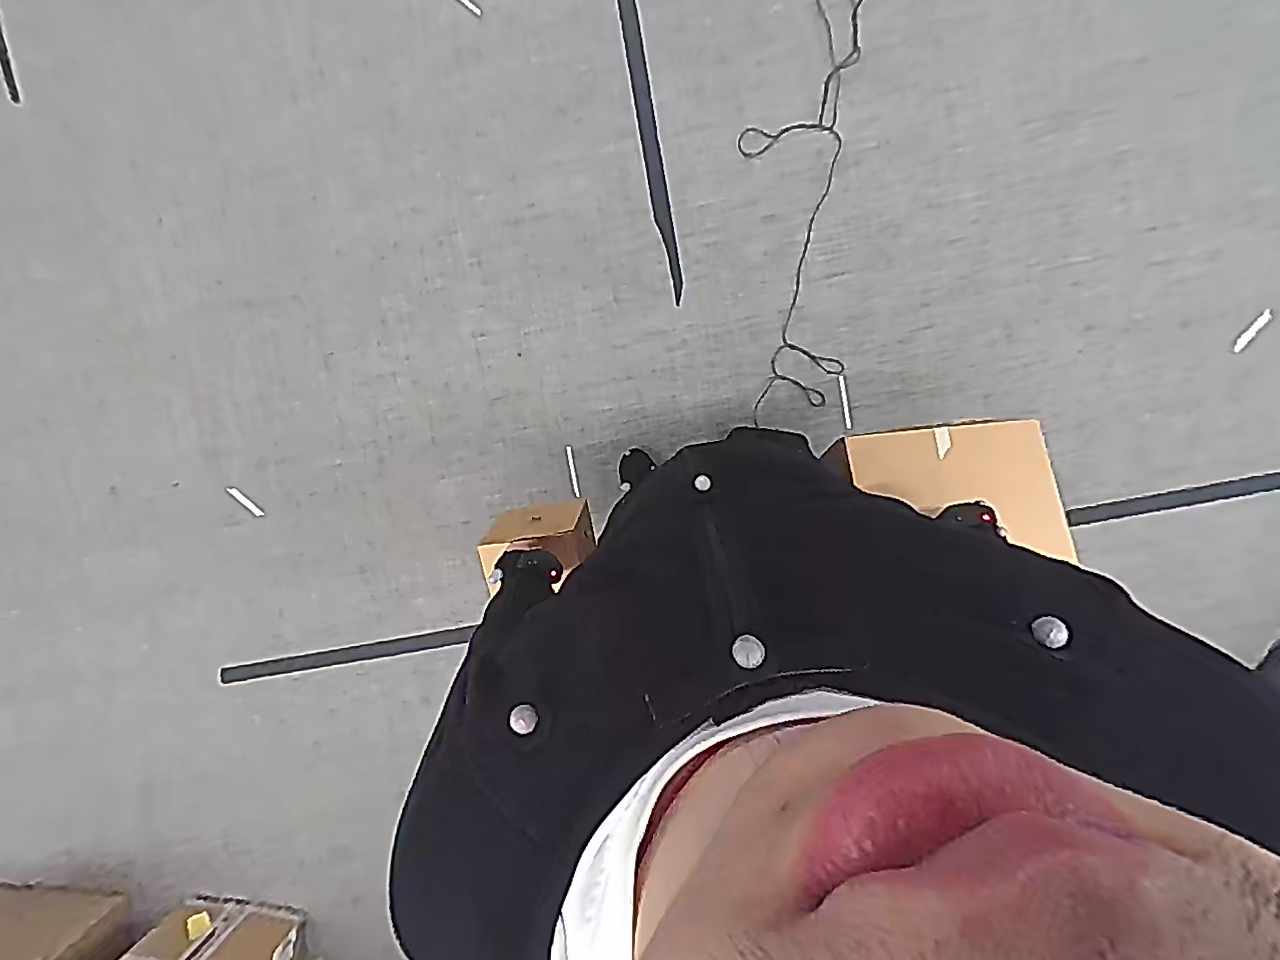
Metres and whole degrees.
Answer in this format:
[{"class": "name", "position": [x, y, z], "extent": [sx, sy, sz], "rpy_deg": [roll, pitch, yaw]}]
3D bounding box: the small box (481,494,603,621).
[{"class": "small box", "position": [-0.168, 0.145, 0.992], "extent": [0.168, 0.179, 0.176], "rpy_deg": [-9, 108, 5]}]
